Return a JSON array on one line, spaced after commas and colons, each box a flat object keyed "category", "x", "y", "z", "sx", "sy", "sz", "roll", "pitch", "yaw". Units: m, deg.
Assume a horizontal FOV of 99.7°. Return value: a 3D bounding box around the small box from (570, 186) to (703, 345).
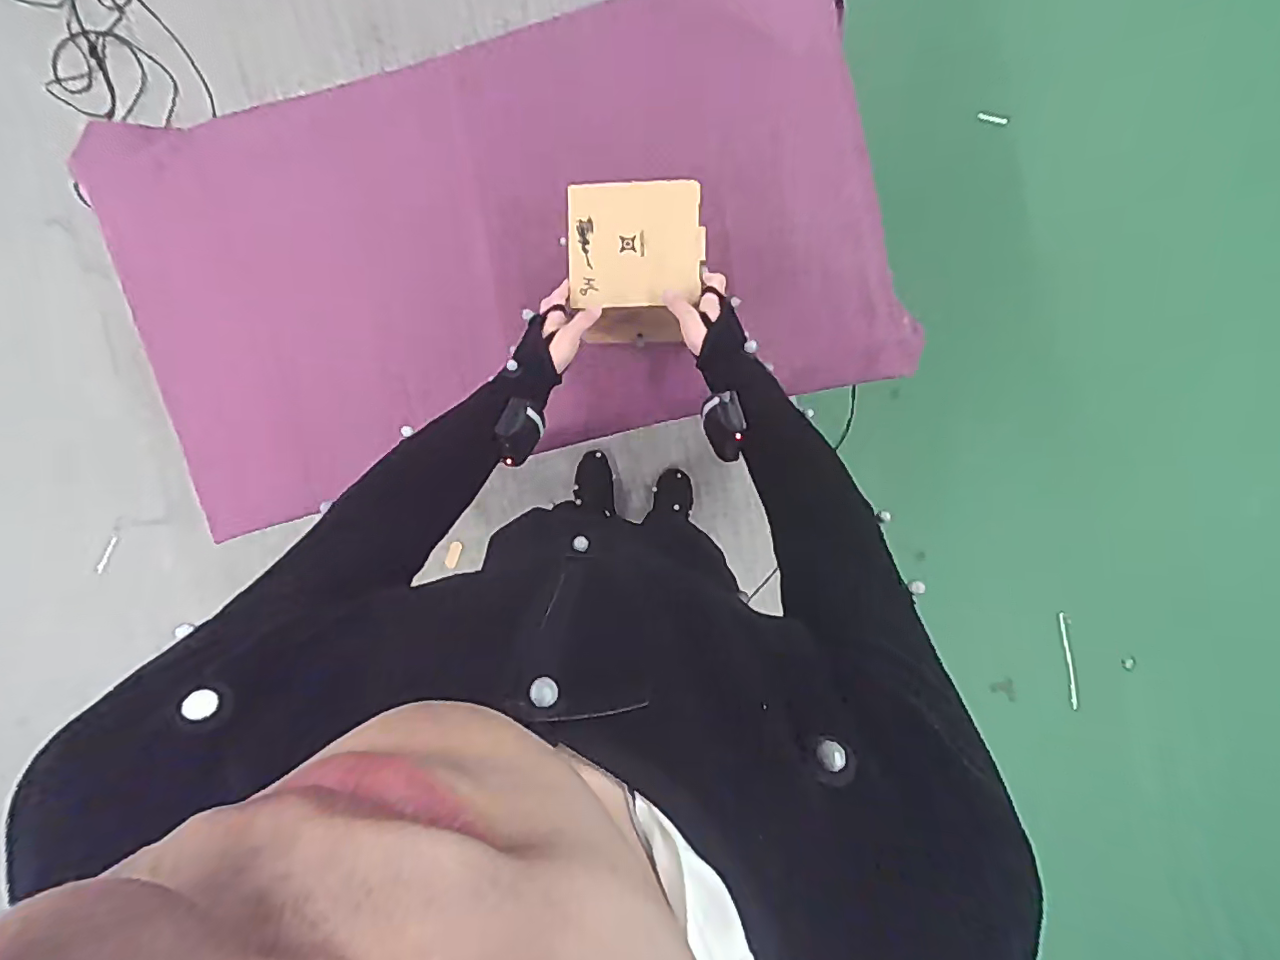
[{"category": "small box", "x": -0.004, "y": -0.301, "z": 0.788, "sx": 0.179, "sy": 0.176, "sz": 0.168, "roll": 0, "pitch": 88, "yaw": 1}]
